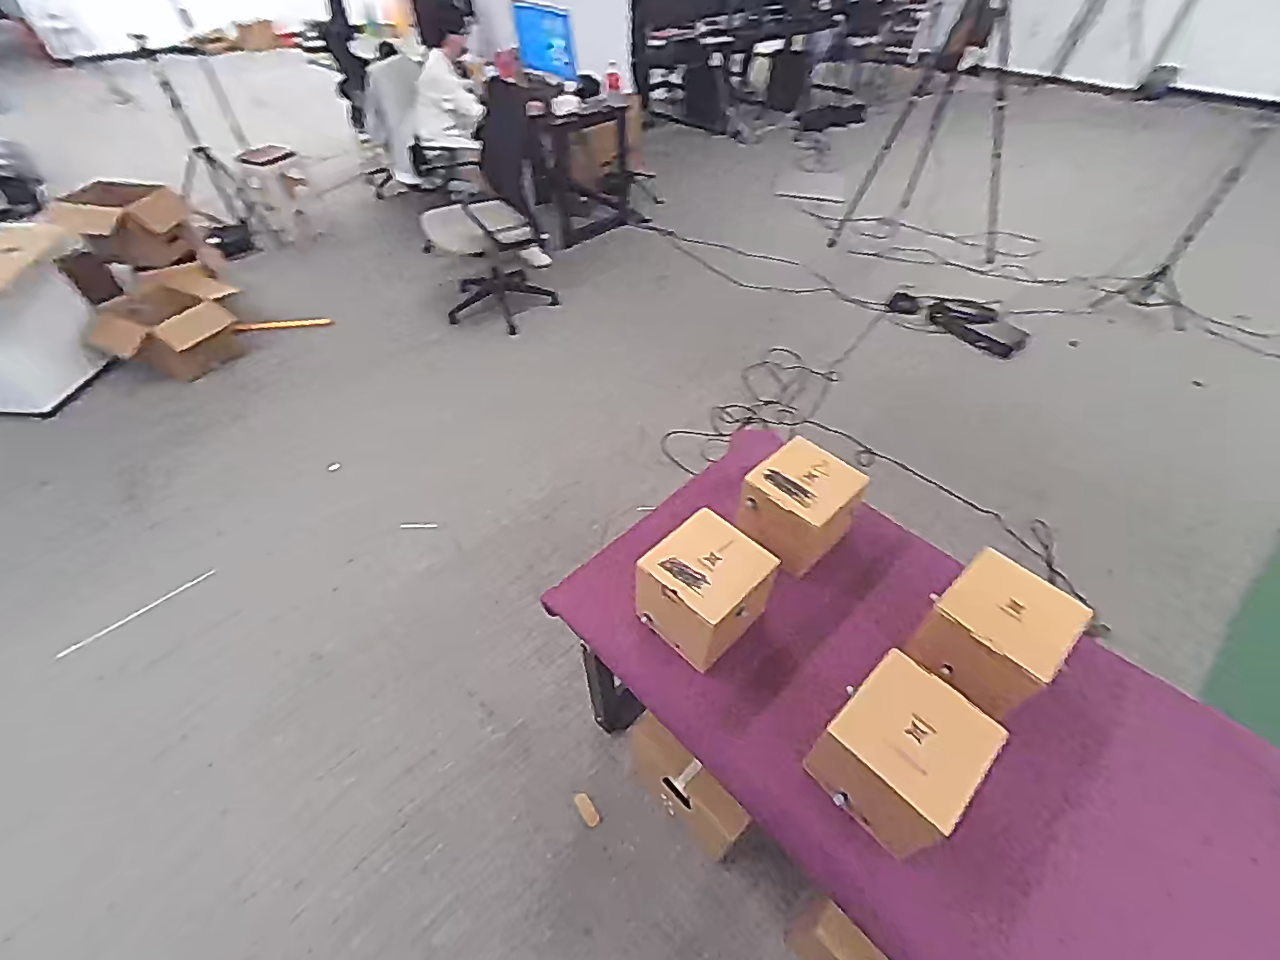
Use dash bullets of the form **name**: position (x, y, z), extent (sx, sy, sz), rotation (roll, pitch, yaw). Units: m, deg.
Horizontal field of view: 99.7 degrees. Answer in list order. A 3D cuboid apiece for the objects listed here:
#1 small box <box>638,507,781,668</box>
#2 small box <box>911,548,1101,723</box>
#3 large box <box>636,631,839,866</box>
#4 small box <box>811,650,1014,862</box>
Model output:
- **small box**: position (0.114, 0.187, 0.930), extent (0.179, 0.176, 0.168), rotation (-35, 56, -29)
- **small box**: position (0.573, 0.250, 0.869), extent (0.179, 0.176, 0.168), rotation (-34, 56, -25)
- **large box**: position (0.235, 0.672, 1.384), extent (0.408, 0.320, 0.320), rotation (-34, 56, -28)
- **small box**: position (0.362, 0.380, 0.749), extent (0.179, 0.176, 0.168), rotation (-33, 54, -27)
